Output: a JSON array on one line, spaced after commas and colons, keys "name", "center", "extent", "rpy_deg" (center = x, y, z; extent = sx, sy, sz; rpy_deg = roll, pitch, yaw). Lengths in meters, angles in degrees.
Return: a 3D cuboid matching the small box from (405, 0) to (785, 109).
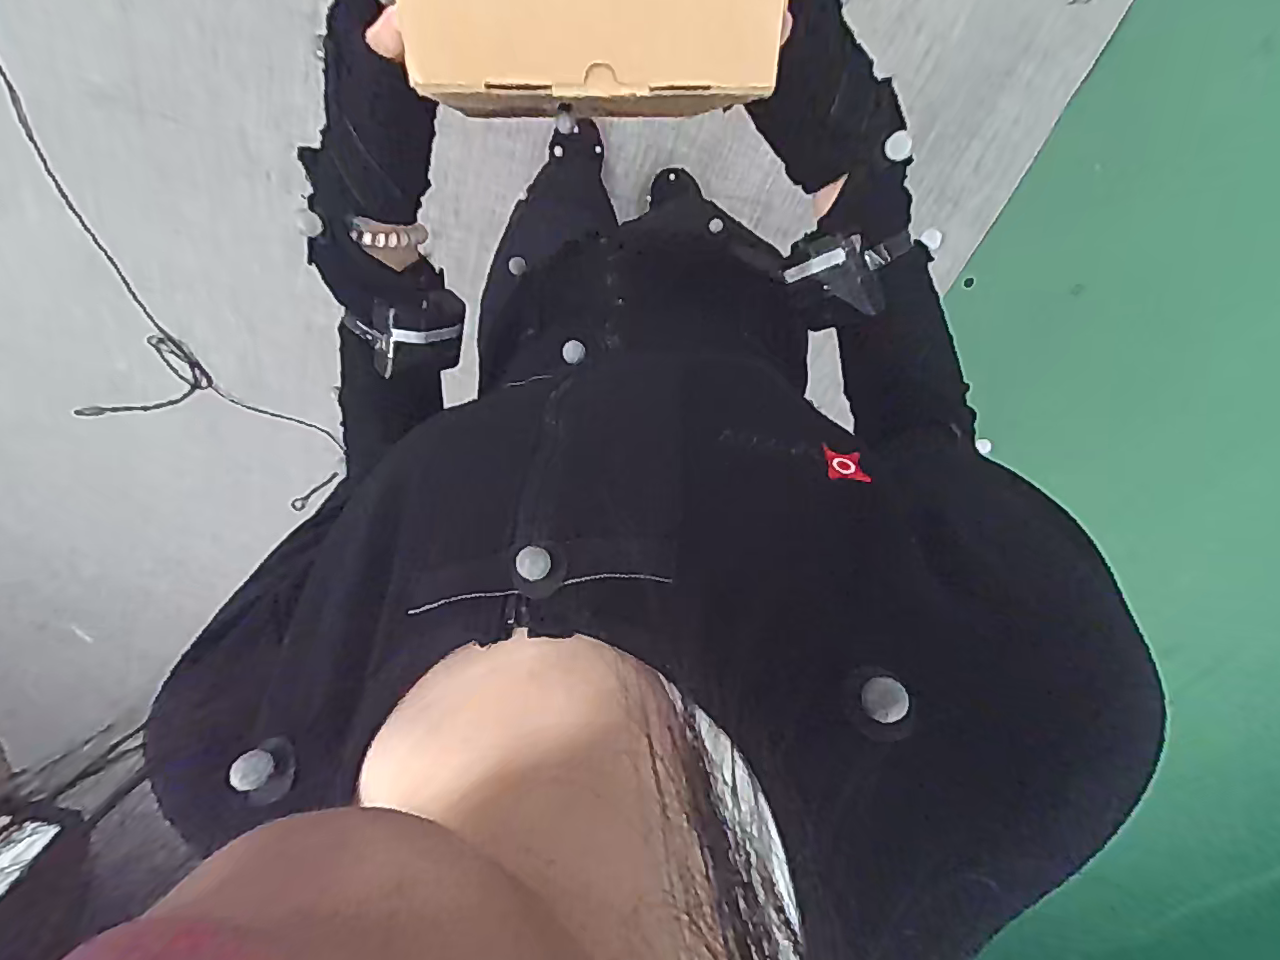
[{"name": "small box", "center": [-0.029, -0.293, 0.267], "extent": [0.168, 0.176, 0.179], "rpy_deg": [-5, 124, -7]}]
